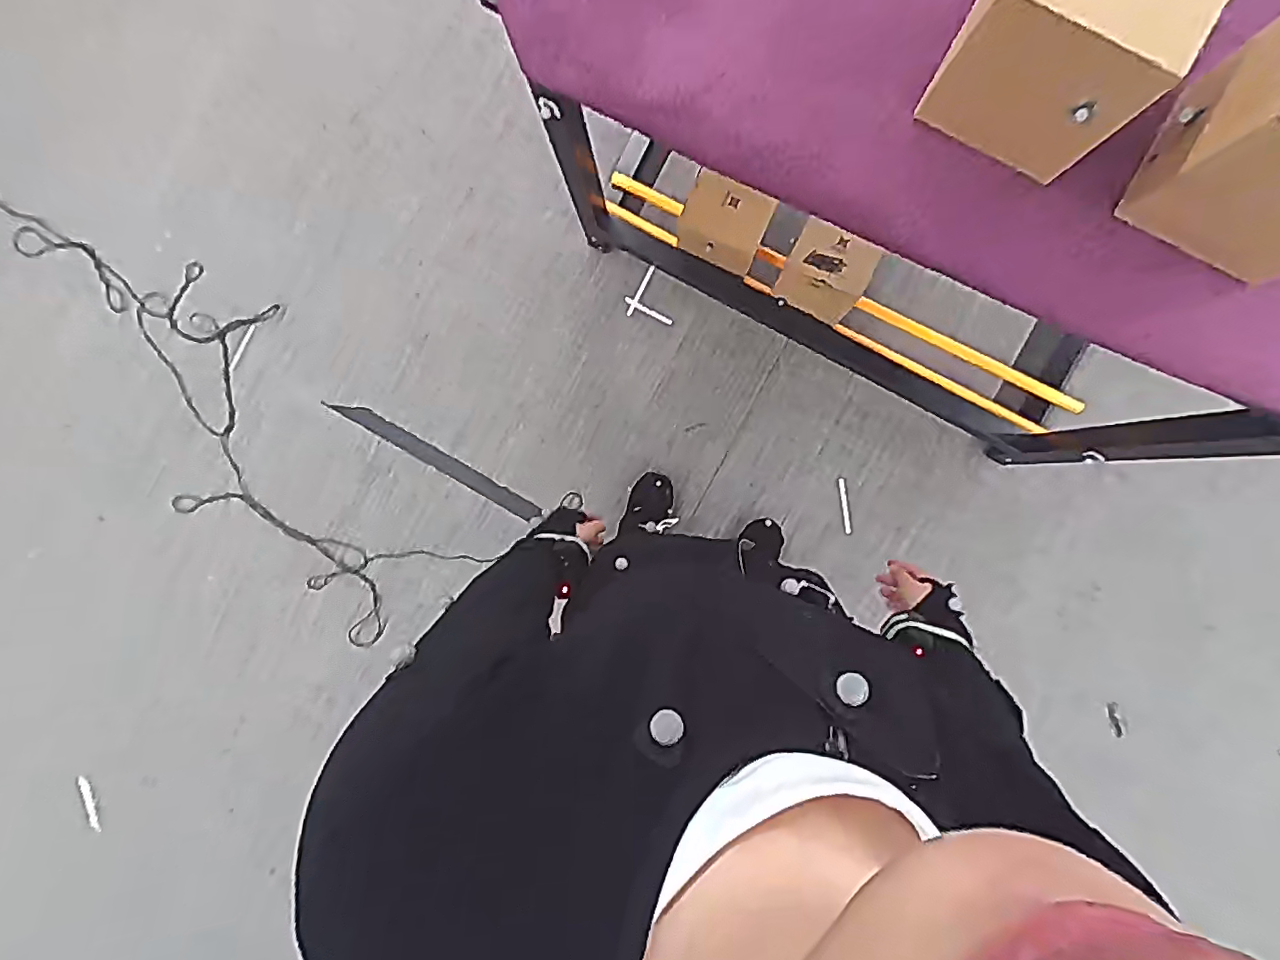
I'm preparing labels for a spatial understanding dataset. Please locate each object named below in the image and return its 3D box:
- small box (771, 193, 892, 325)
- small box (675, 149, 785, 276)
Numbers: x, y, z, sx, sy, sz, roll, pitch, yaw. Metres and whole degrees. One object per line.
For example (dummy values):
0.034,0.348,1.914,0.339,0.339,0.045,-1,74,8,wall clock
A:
0.399,-0.463,1.163,0.168,0.176,0.179,27,85,2,small box
0.188,-0.568,1.176,0.179,0.176,0.168,24,93,3,small box
